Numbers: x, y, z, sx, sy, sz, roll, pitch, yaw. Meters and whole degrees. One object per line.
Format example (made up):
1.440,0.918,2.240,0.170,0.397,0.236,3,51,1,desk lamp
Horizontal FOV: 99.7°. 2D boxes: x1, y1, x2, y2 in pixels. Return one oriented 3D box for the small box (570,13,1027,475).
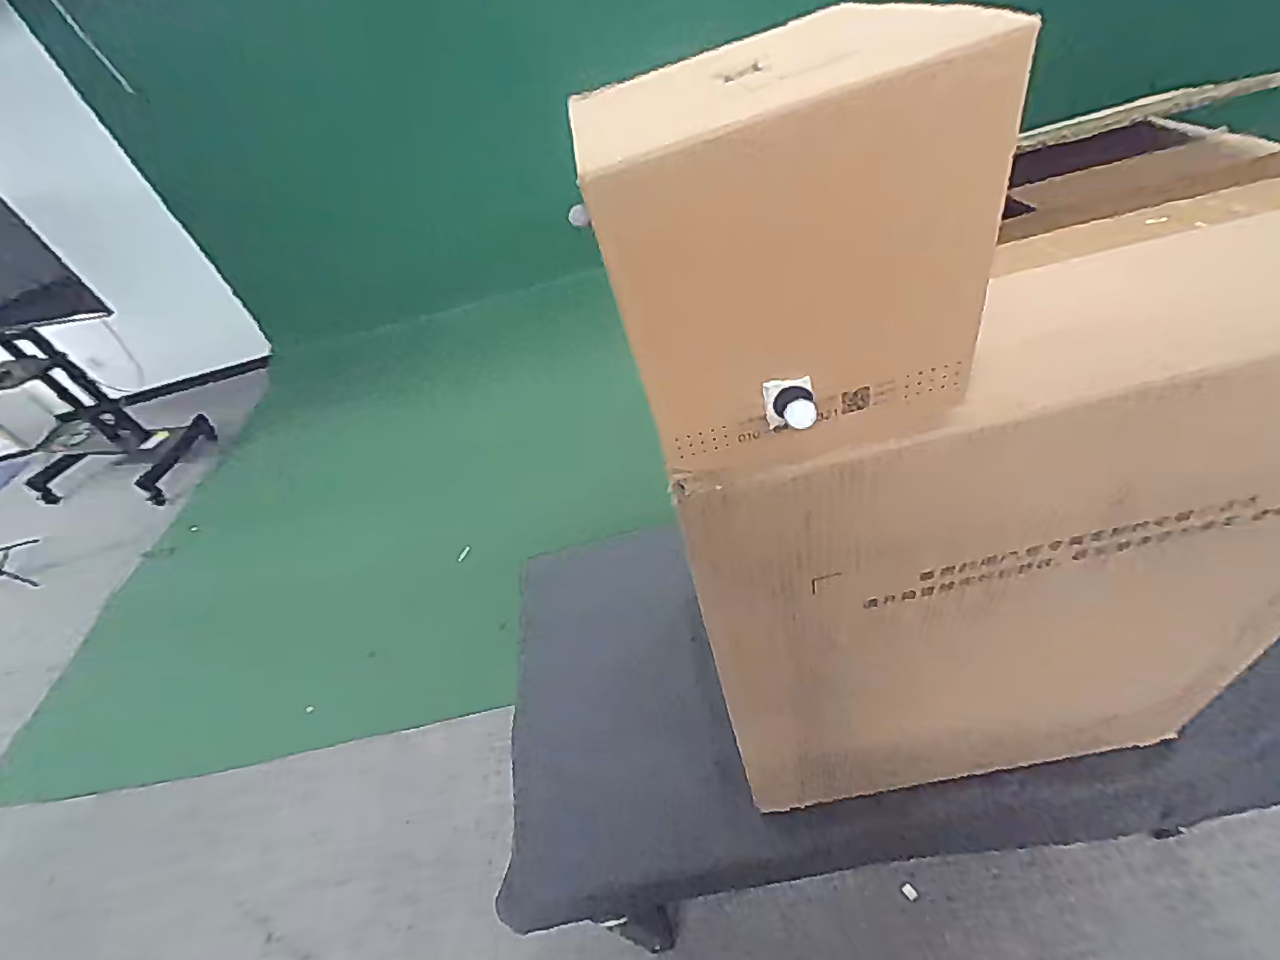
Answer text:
0.067,-0.133,0.310,0.168,0.176,0.179,-17,43,4,small box
